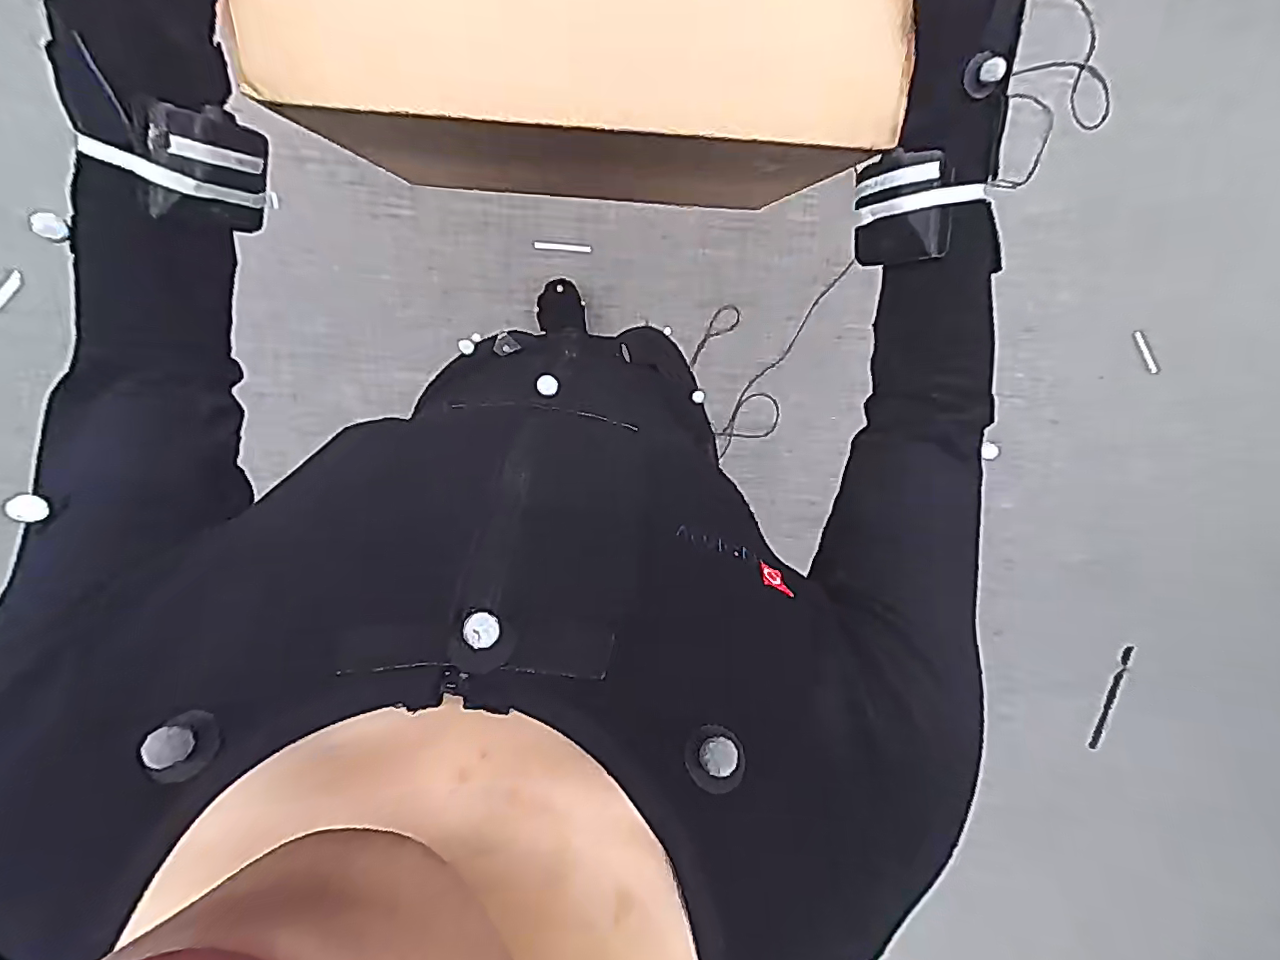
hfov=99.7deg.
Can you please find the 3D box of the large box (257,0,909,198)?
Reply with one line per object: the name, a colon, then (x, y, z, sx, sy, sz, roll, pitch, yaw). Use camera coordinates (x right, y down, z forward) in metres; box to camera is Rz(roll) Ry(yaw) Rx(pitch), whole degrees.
large box: (-0.037, -0.430, 0.438, 0.408, 0.320, 0.320, 1, 110, -6)
